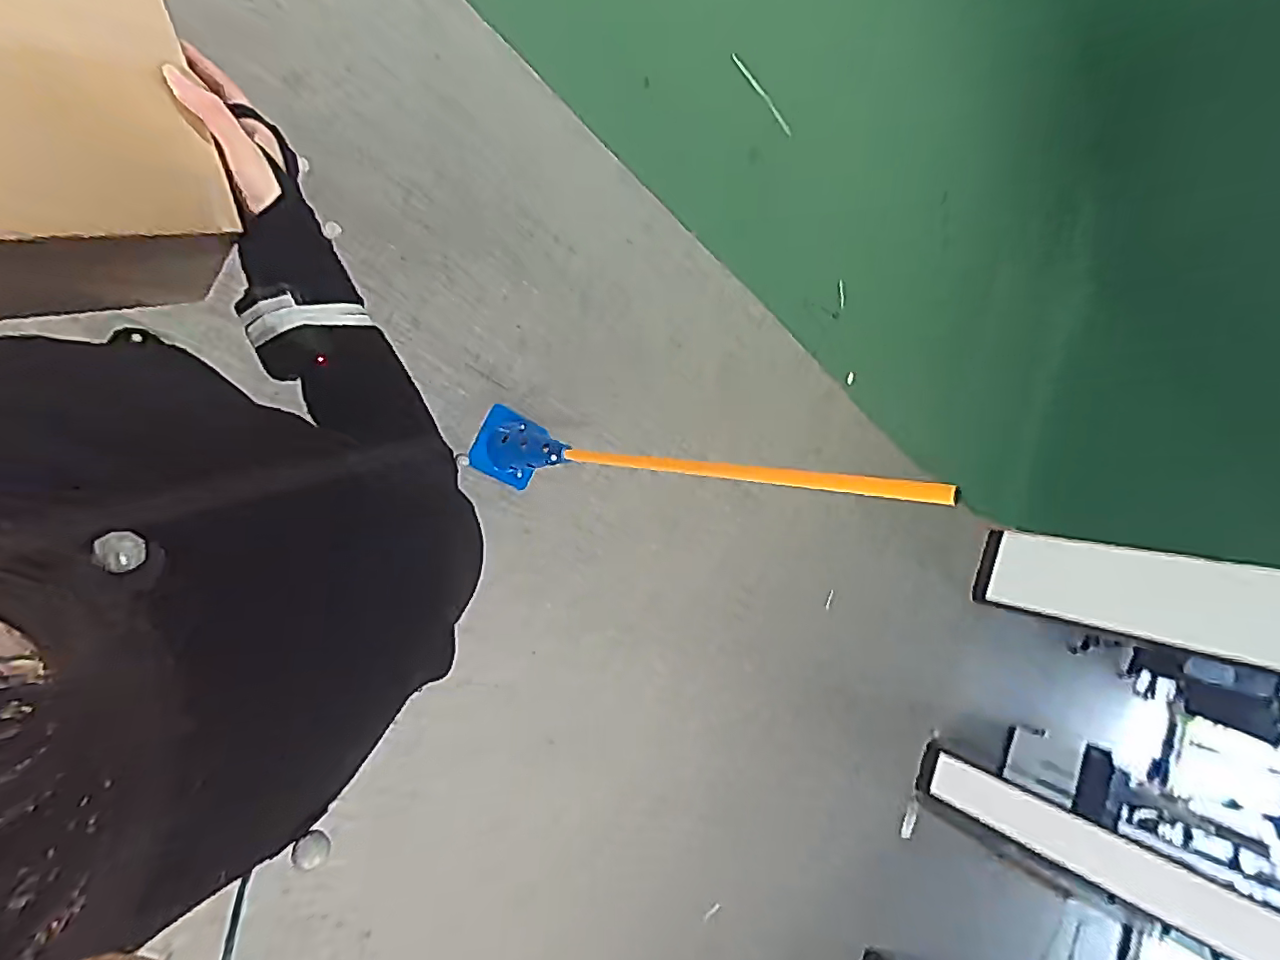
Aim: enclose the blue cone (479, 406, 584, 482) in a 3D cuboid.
[{"bbox_3d":[-0.258,-0.088,1.435,0.193,0.380,0.192,27,80,-36],"label":"blue cone"}]
